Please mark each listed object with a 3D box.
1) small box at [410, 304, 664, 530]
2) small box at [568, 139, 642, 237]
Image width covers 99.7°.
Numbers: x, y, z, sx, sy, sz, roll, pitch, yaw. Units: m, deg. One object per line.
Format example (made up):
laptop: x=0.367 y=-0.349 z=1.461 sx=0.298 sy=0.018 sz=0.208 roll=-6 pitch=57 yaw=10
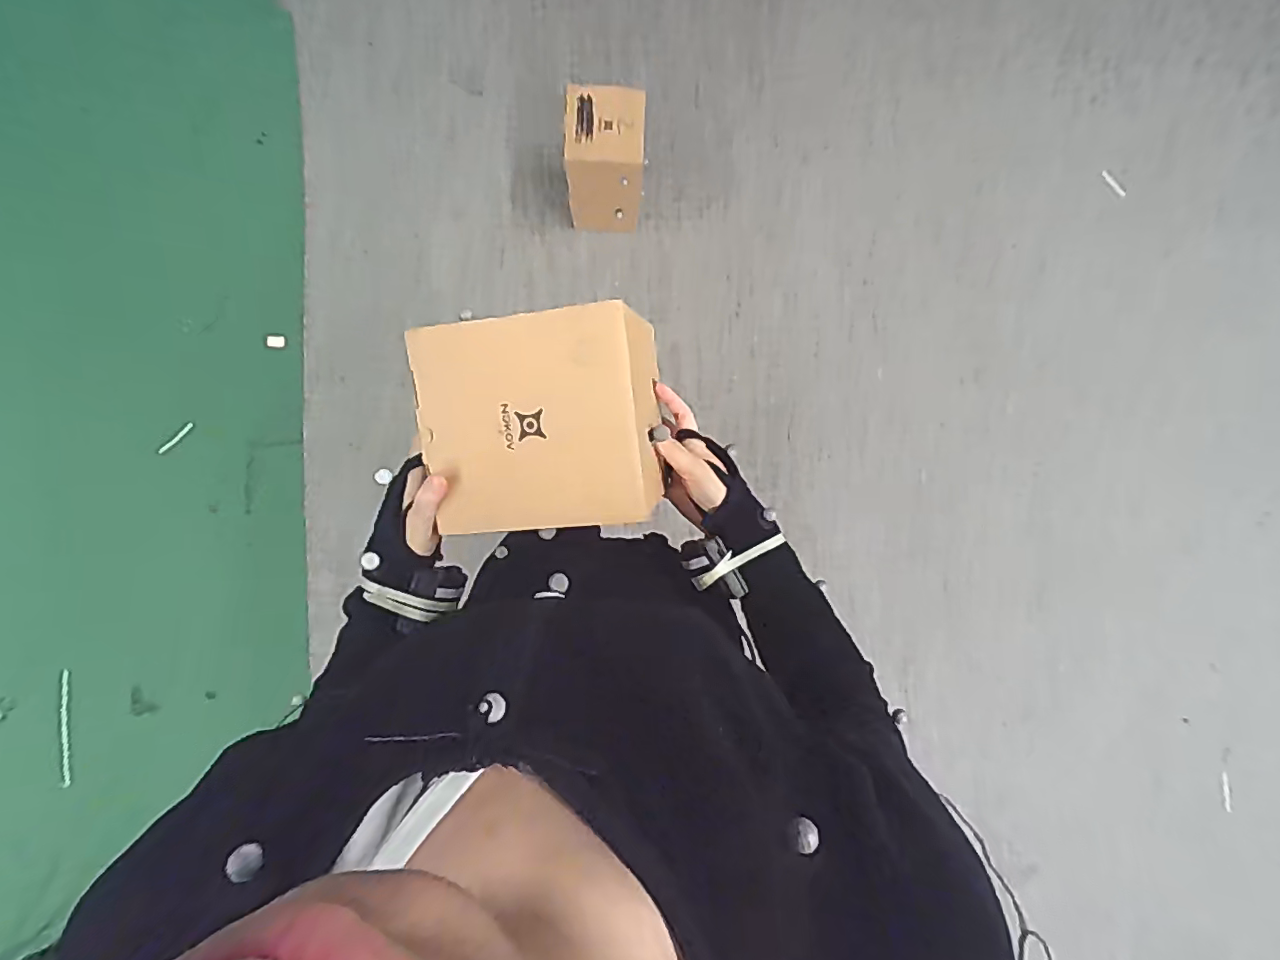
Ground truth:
small box: x=-0.074 y=-0.059 z=0.496 sx=0.179 sy=0.176 sz=0.168 roll=-5 pitch=99 yaw=11
small box: x=-0.089 y=-0.760 z=1.426 sx=0.179 sy=0.176 sz=0.168 roll=4 pitch=89 yaw=-1
